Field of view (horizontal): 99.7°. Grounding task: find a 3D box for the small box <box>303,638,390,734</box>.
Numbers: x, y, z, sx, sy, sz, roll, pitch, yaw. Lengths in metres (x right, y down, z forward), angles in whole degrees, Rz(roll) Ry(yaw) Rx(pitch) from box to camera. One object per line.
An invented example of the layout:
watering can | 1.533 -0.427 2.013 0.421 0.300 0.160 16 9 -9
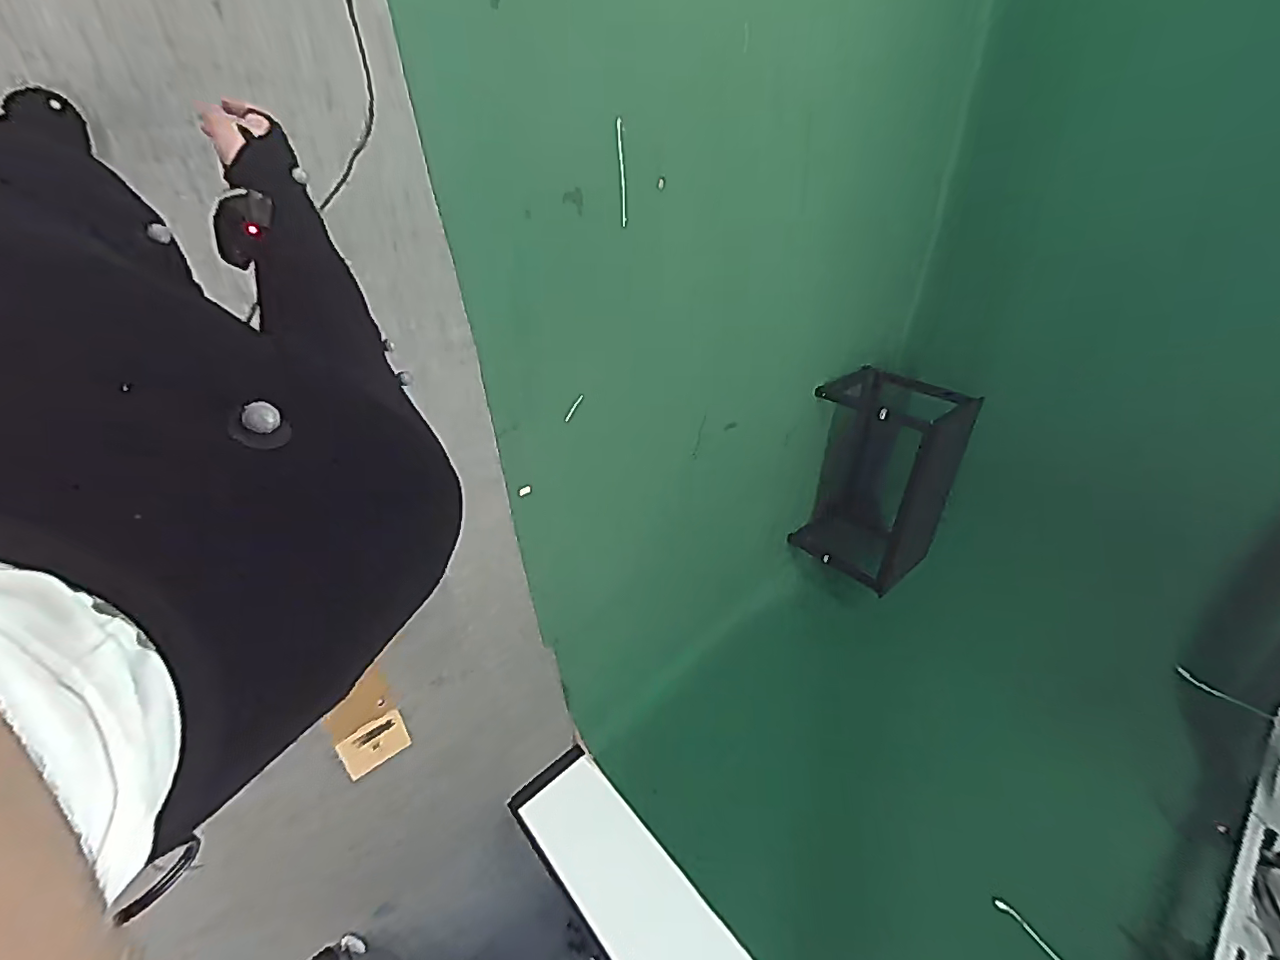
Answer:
small box | -0.899 0.621 1.647 0.179 0.176 0.168 -28 132 -32
